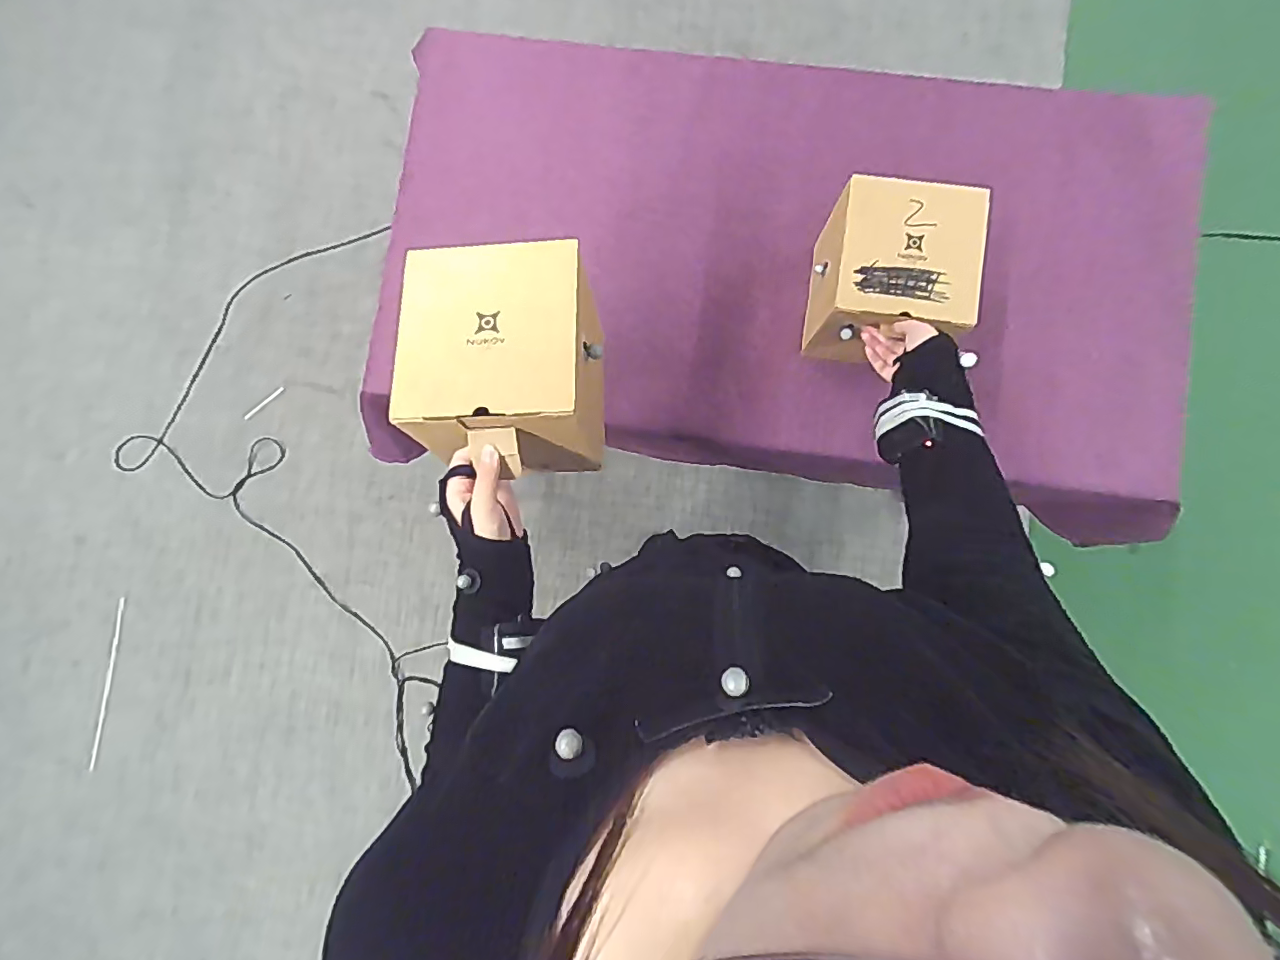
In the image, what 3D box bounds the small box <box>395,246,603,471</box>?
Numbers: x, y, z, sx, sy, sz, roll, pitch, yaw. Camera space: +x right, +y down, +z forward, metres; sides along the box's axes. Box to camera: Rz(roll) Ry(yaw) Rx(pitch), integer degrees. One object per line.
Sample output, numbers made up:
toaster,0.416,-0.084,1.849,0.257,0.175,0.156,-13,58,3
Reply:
small box,-0.133,-0.118,0.577,0.168,0.176,0.179,-2,75,4
